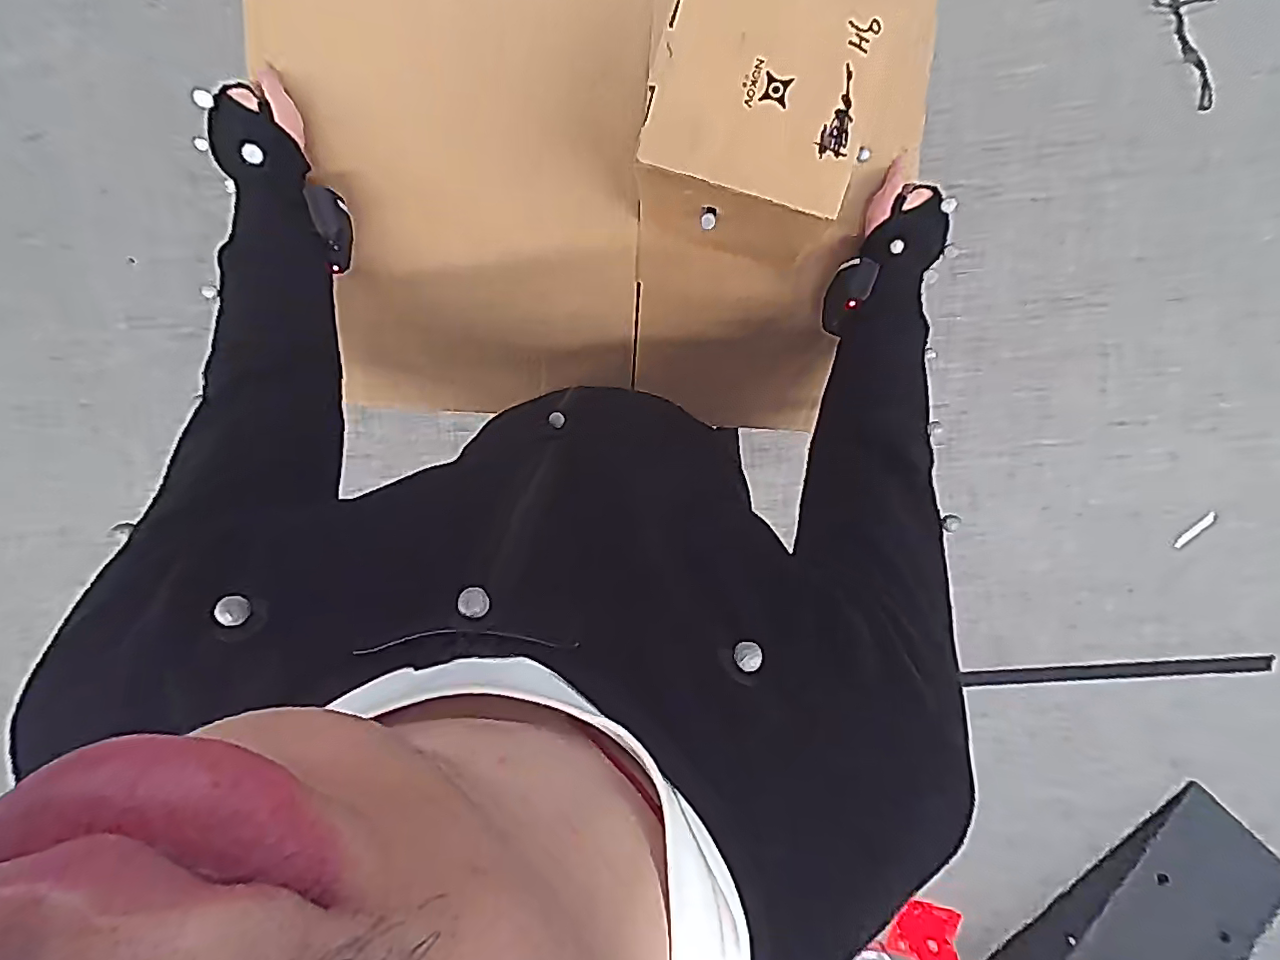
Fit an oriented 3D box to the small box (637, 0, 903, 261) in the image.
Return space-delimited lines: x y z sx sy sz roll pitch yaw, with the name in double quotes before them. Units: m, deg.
"small box" 0.108 -0.330 0.518 0.179 0.176 0.168 17 99 2
